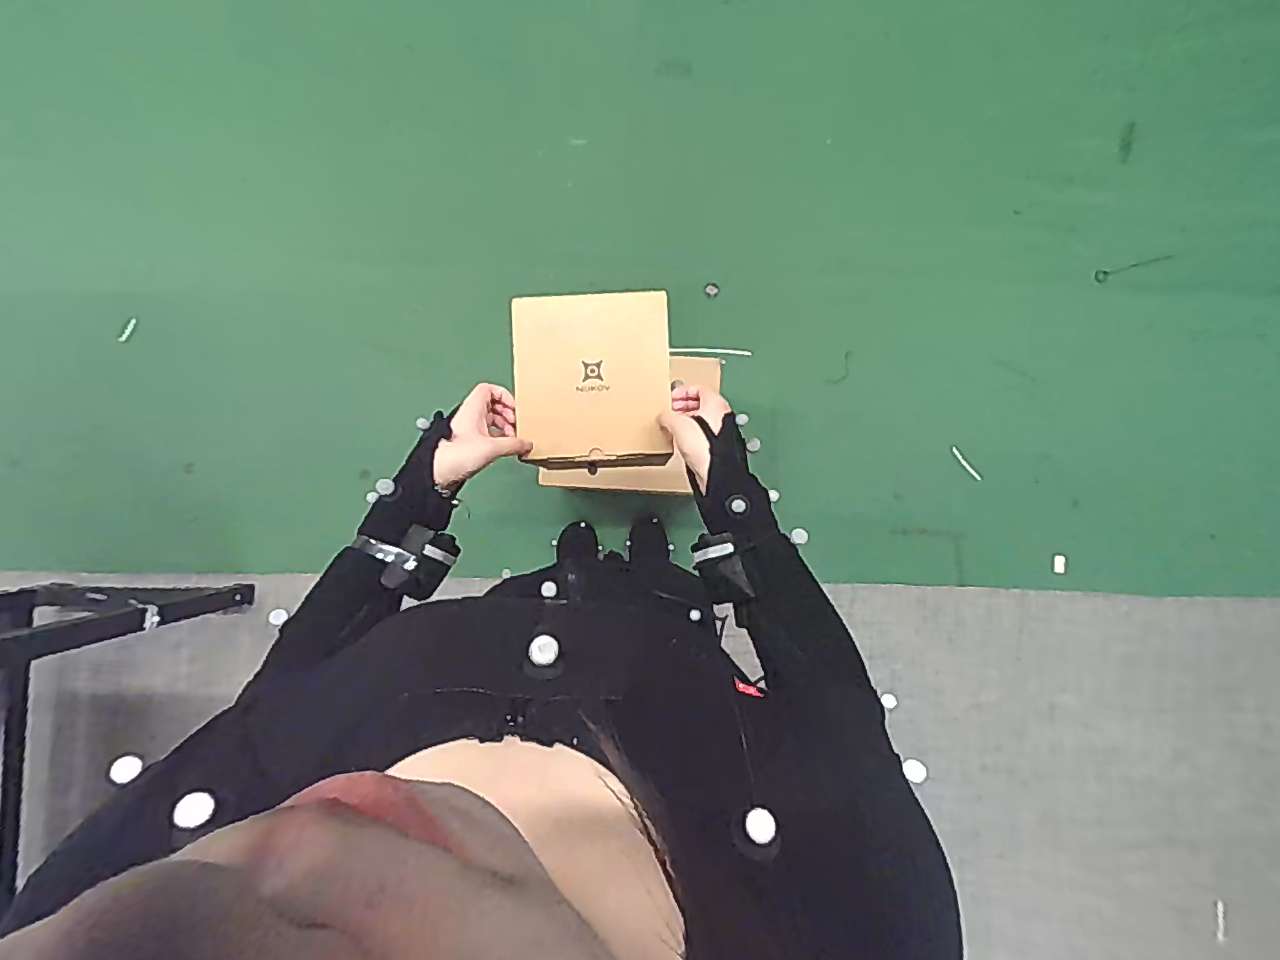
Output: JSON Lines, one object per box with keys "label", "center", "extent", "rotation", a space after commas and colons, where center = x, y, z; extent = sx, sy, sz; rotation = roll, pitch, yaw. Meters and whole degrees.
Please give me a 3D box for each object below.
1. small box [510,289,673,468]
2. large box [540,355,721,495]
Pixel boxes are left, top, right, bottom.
{"label": "small box", "center": [-0.051, -0.107, 0.635], "extent": [0.168, 0.176, 0.179], "rotation": [-3, 90, 0]}
{"label": "large box", "center": [-0.024, -0.125, 1.360], "extent": [0.408, 0.320, 0.320], "rotation": [3, 88, 0]}
